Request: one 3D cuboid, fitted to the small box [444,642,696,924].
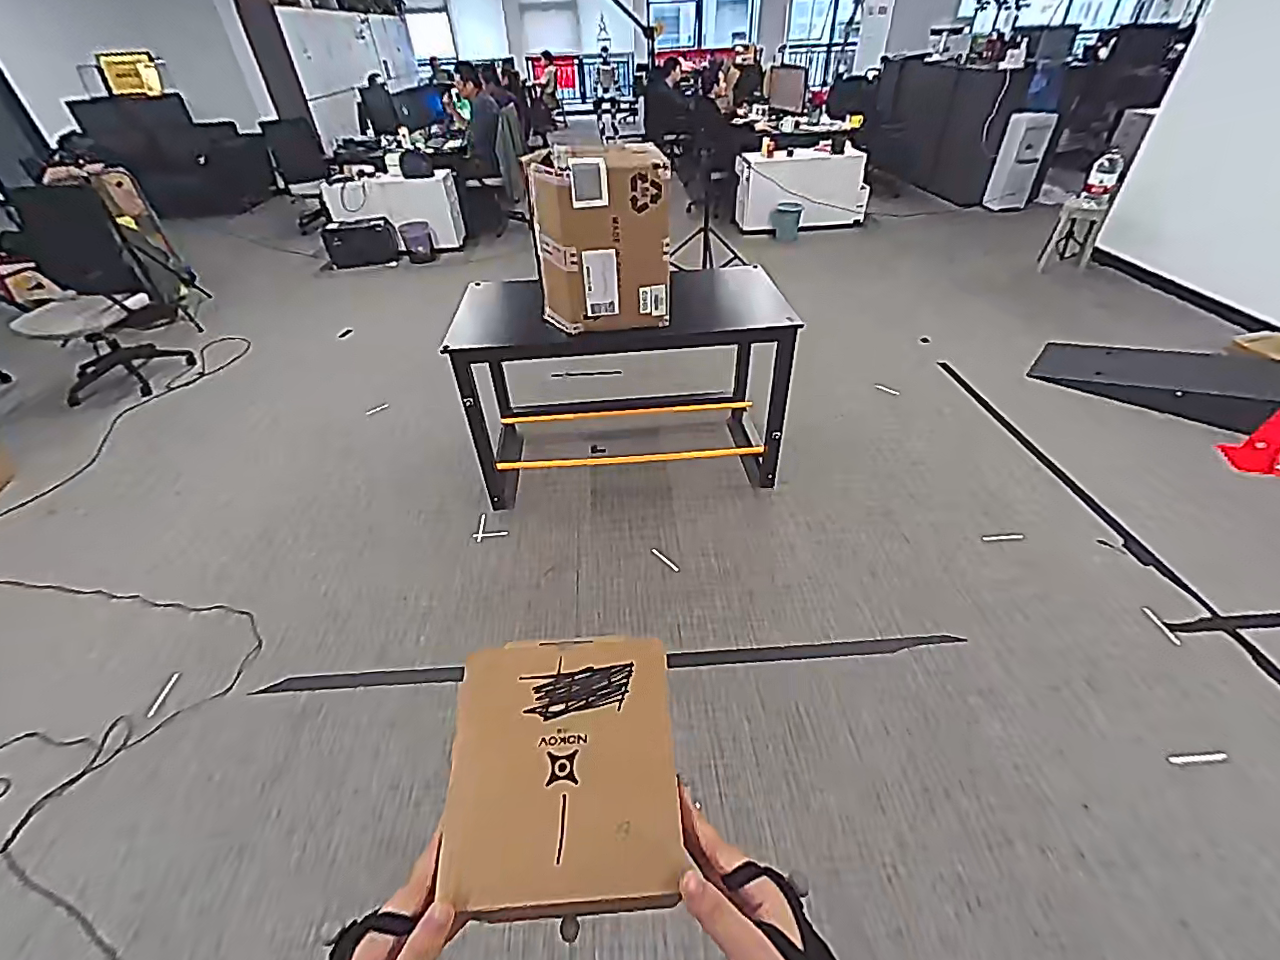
[{"bbox_3d":[-0.050,0.258,0.462,0.168,0.176,0.179,-3,49,-2],"label":"small box"}]
